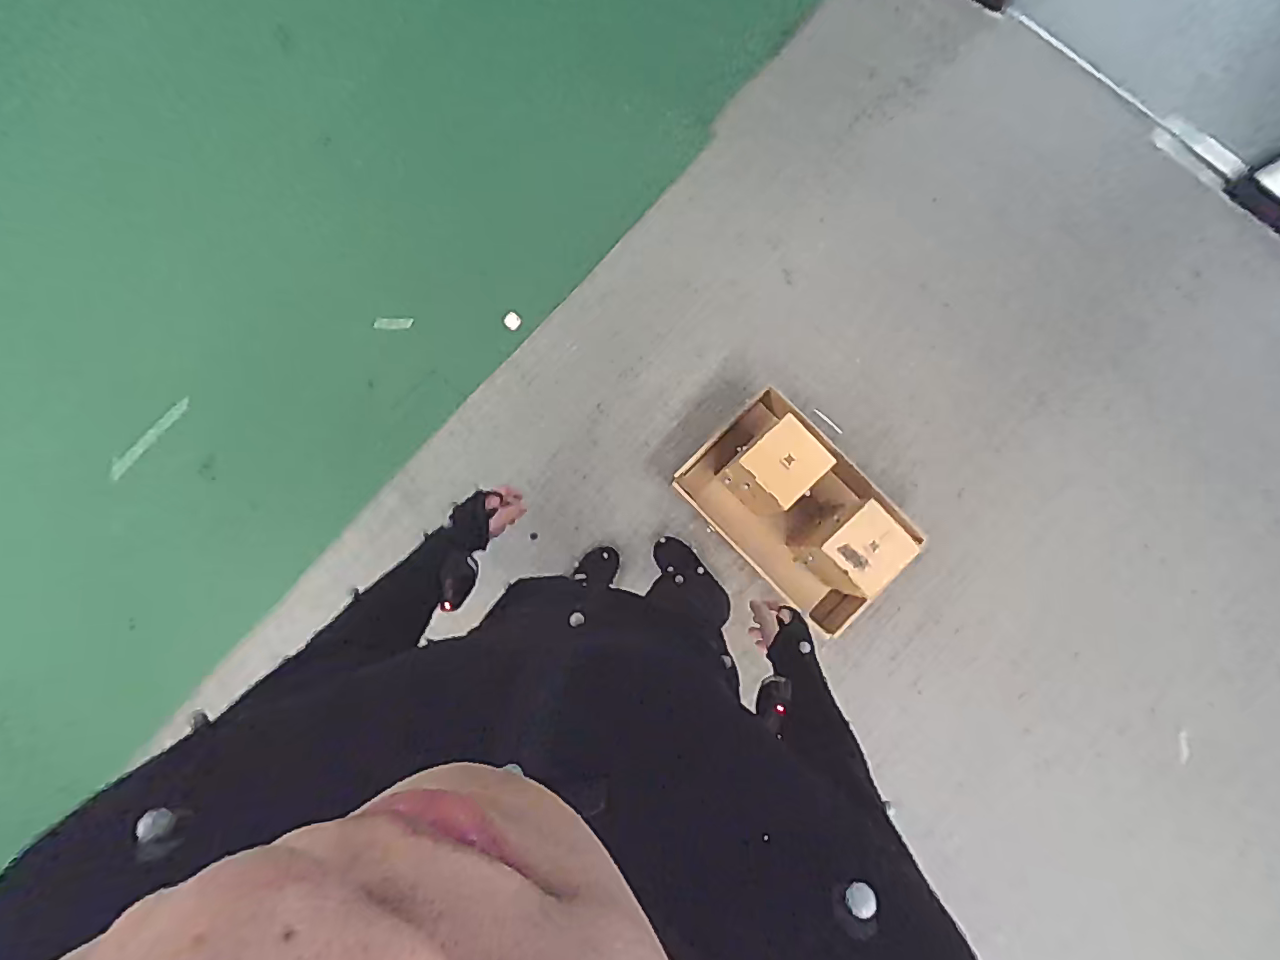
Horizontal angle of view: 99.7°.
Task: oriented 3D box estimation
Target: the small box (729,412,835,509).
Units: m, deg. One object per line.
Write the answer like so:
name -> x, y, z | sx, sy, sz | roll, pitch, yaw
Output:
small box -> 0.348, -0.043, 1.362 | 0.179, 0.176, 0.168 | -43, 88, -4

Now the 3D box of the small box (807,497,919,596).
small box -> 0.540, 0.165, 1.346 | 0.179, 0.176, 0.168 | -42, 86, -5
